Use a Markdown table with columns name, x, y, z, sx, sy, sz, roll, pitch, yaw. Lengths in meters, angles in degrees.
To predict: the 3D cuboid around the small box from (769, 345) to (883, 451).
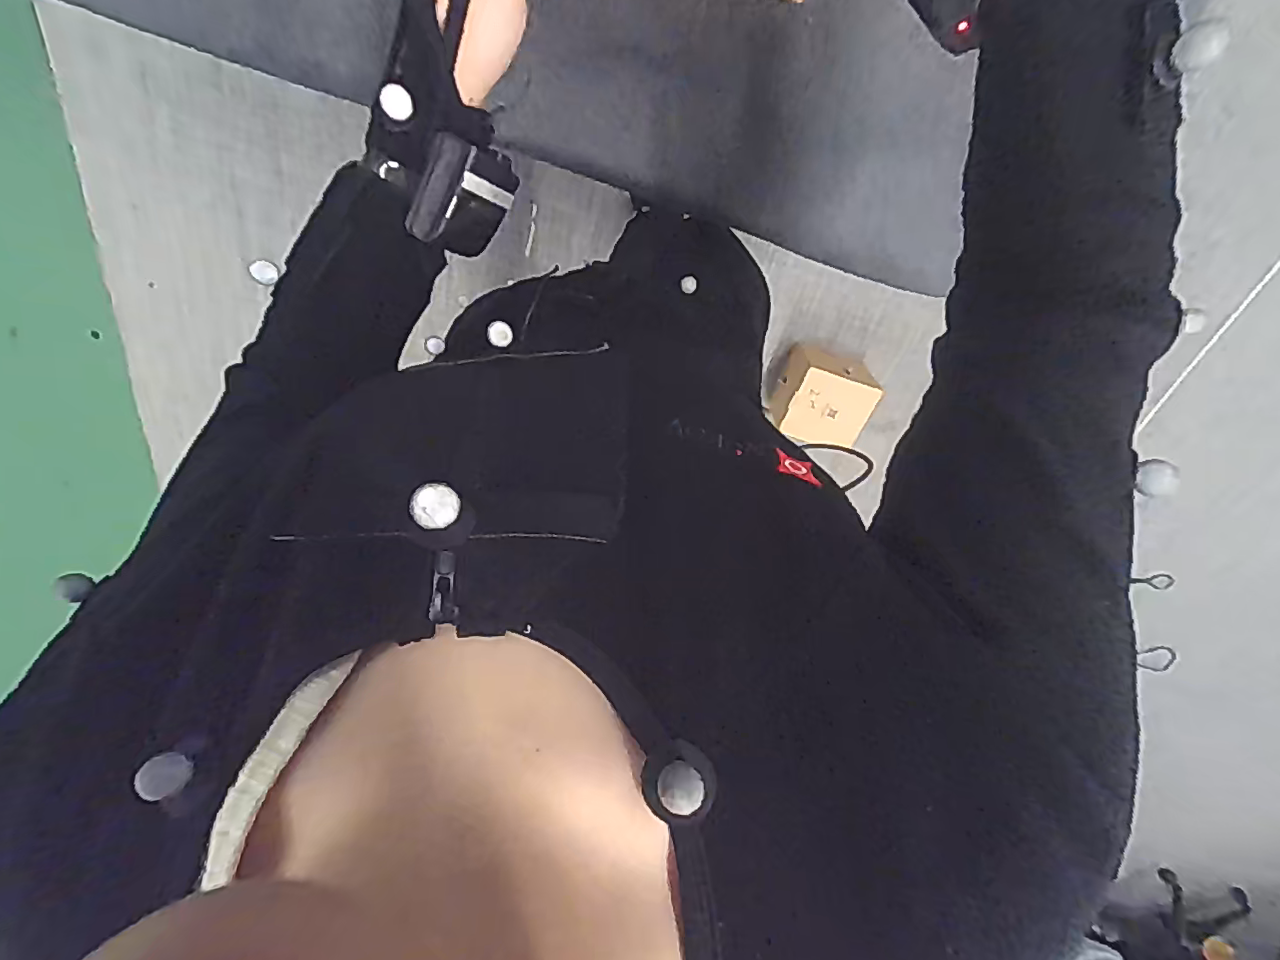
| name | x | y | z | sx | sy | sz | roll | pitch | yaw |
| --- | --- | --- | --- | --- | --- | --- | --- | --- | --- |
| small box | 0.419 | -0.195 | 1.249 | 0.179 | 0.176 | 0.168 | 16 | 121 | -6 |
